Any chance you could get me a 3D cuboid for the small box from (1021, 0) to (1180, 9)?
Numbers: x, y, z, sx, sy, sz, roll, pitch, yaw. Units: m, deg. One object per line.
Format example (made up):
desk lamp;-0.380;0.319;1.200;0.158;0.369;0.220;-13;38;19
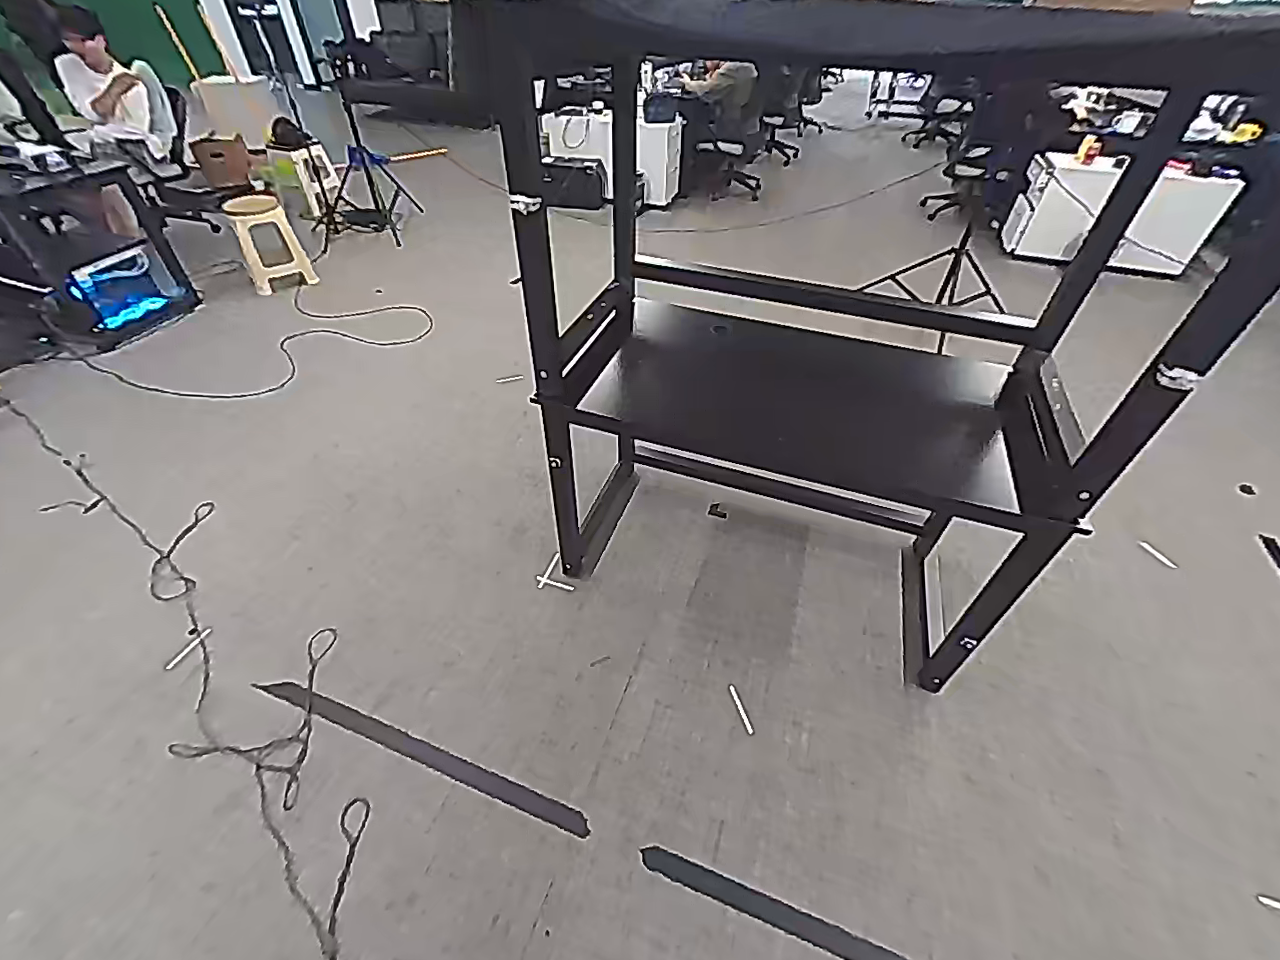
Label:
small box;0.590;-0.678;0.648;0.168;0.176;0.179;18;44;16
